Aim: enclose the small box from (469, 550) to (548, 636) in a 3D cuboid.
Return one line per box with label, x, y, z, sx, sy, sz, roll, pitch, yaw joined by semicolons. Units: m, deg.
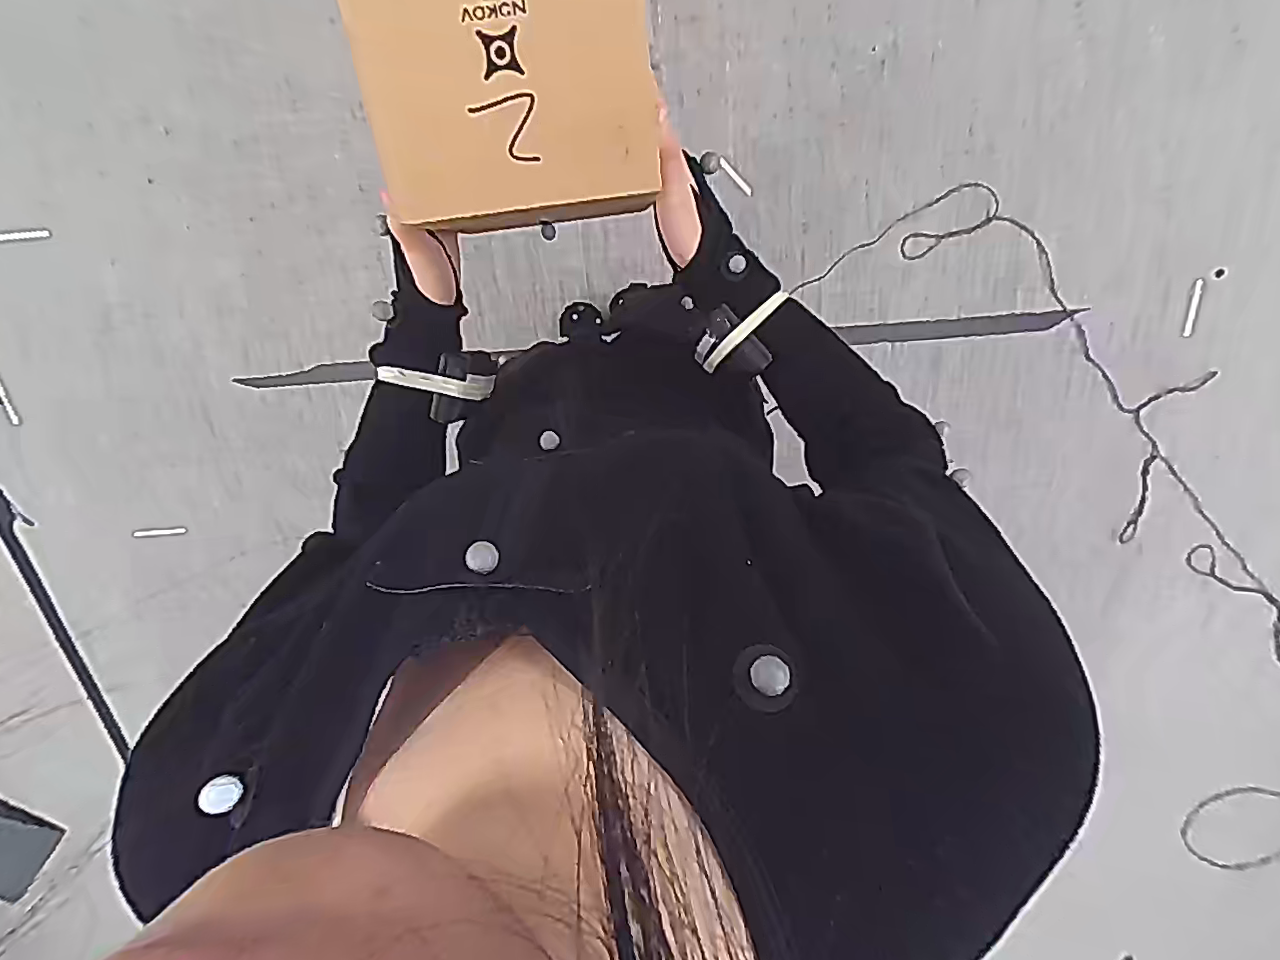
small box;-0.373;0.317;1.552;0.179;0.176;0.168;11;108;-6
